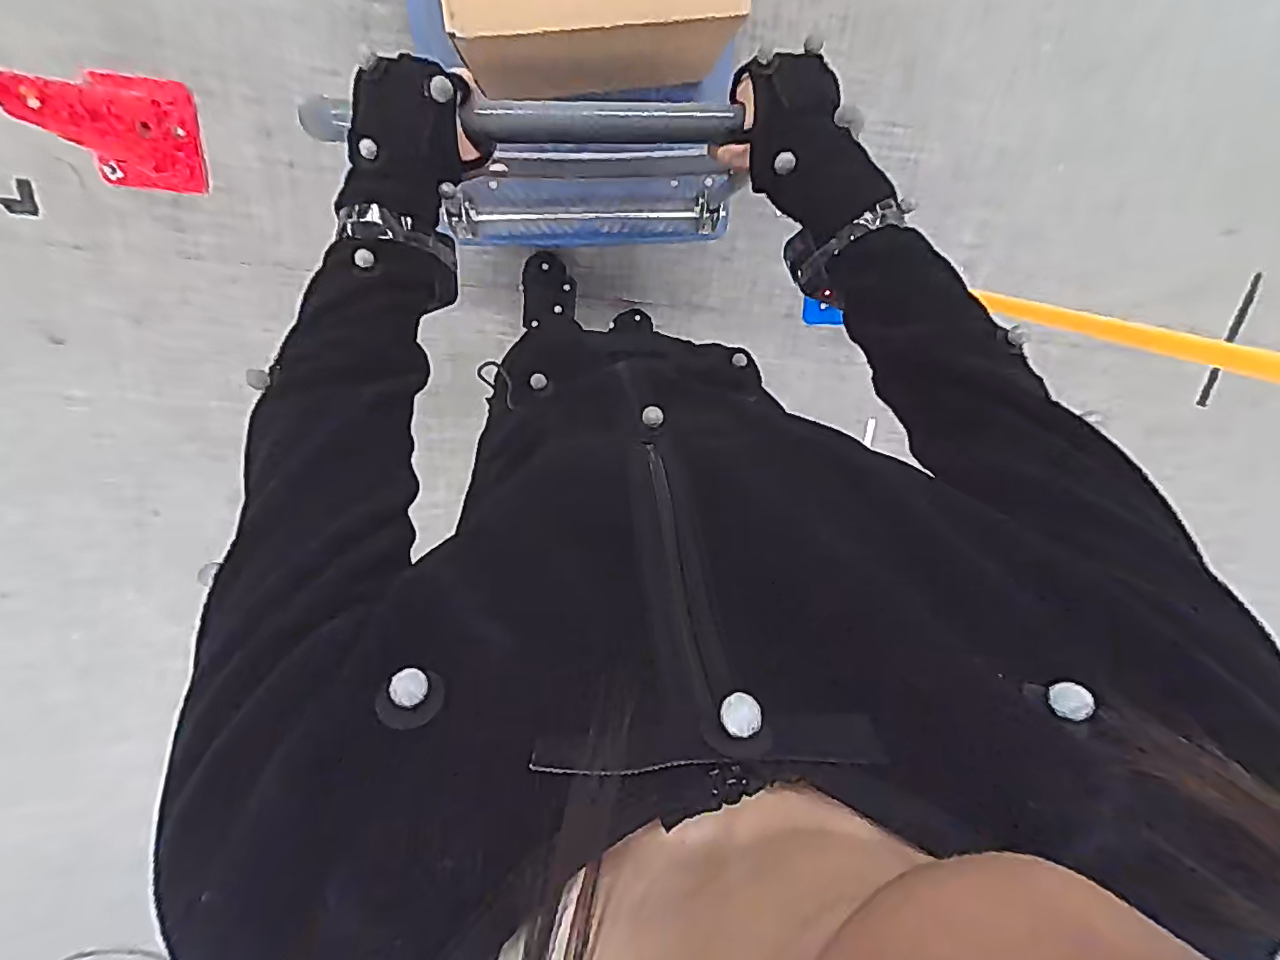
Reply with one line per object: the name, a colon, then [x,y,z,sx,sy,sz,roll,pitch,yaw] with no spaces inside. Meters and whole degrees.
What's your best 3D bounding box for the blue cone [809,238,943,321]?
blue cone: [0.533,-0.438,1.190,0.193,0.380,0.192,0,110,-7]
